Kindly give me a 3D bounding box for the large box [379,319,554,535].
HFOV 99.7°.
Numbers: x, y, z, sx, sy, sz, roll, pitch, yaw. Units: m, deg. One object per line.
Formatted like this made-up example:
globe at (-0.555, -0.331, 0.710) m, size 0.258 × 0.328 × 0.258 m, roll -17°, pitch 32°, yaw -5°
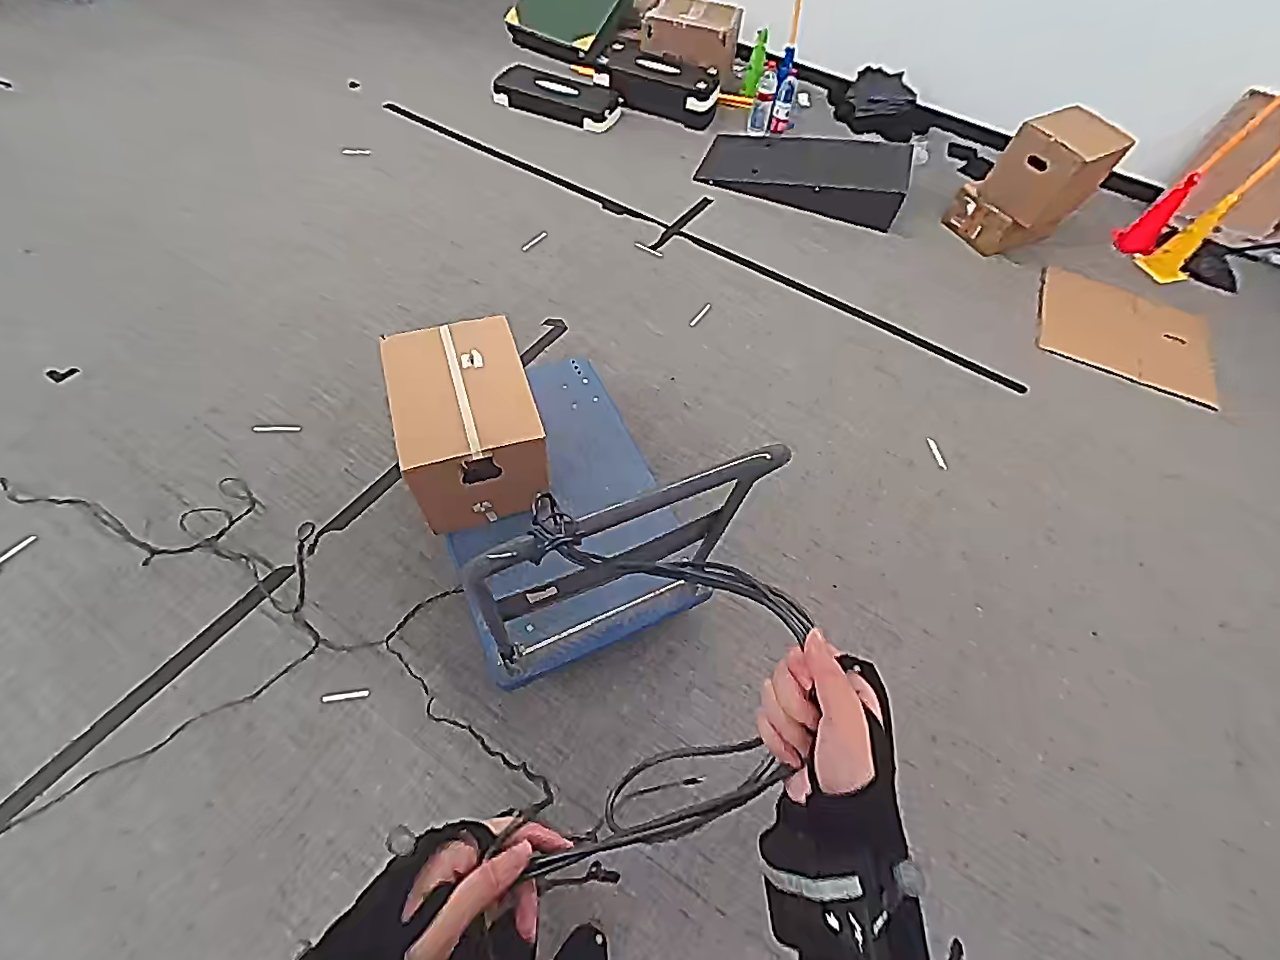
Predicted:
large box at (-0.428, -0.132, 1.371) m, size 0.320 × 0.320 × 0.408 m, roll -15°, pitch 61°, yaw -15°
